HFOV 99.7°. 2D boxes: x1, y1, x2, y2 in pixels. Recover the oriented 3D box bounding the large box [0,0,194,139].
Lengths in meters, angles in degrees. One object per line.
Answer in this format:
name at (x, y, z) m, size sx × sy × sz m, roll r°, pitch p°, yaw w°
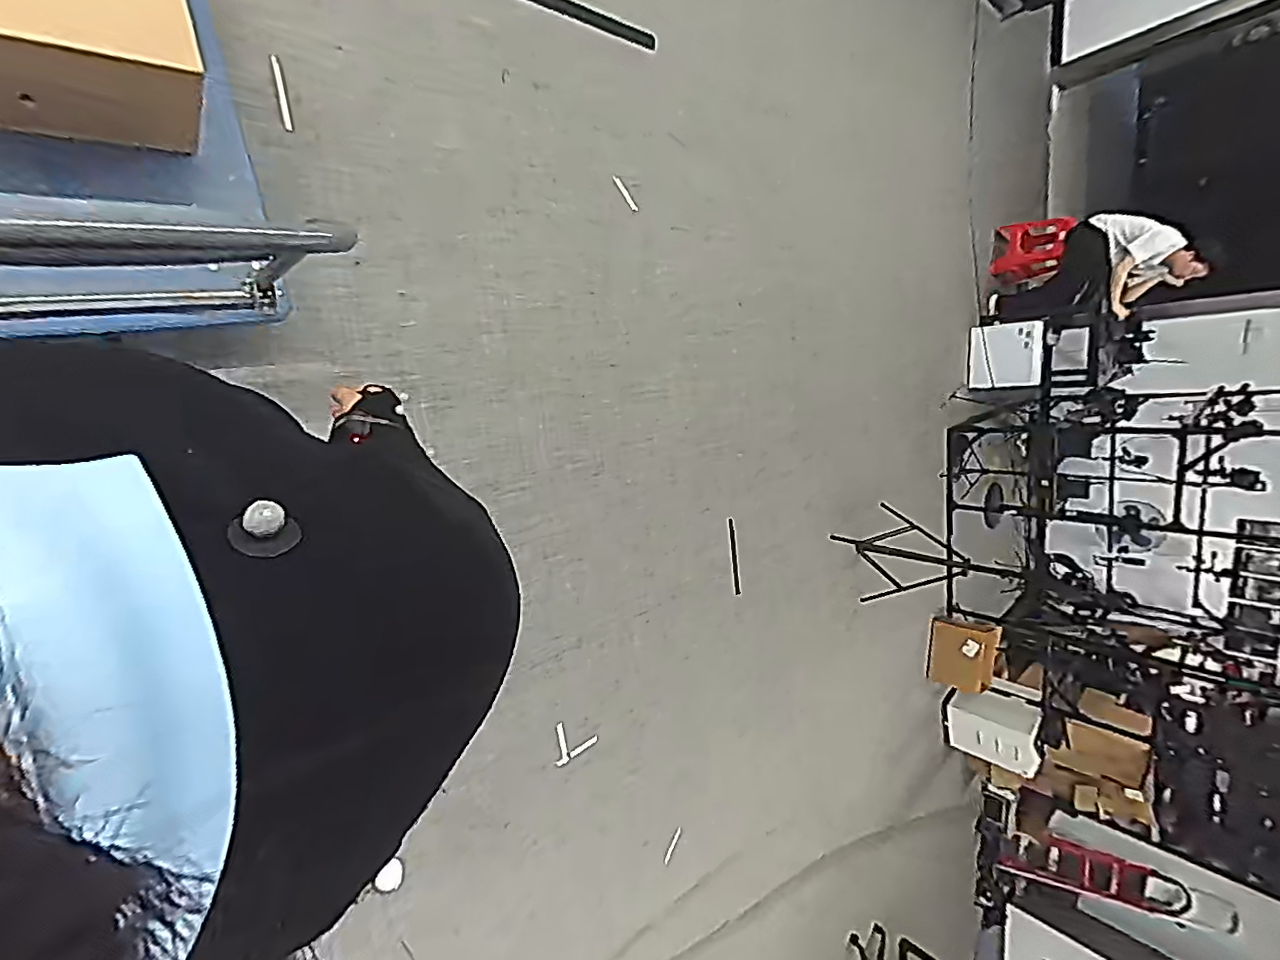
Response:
large box at (-0.905, -0.711, 0.734) m, size 0.408 × 0.320 × 0.320 m, roll -17°, pitch 105°, yaw -38°
